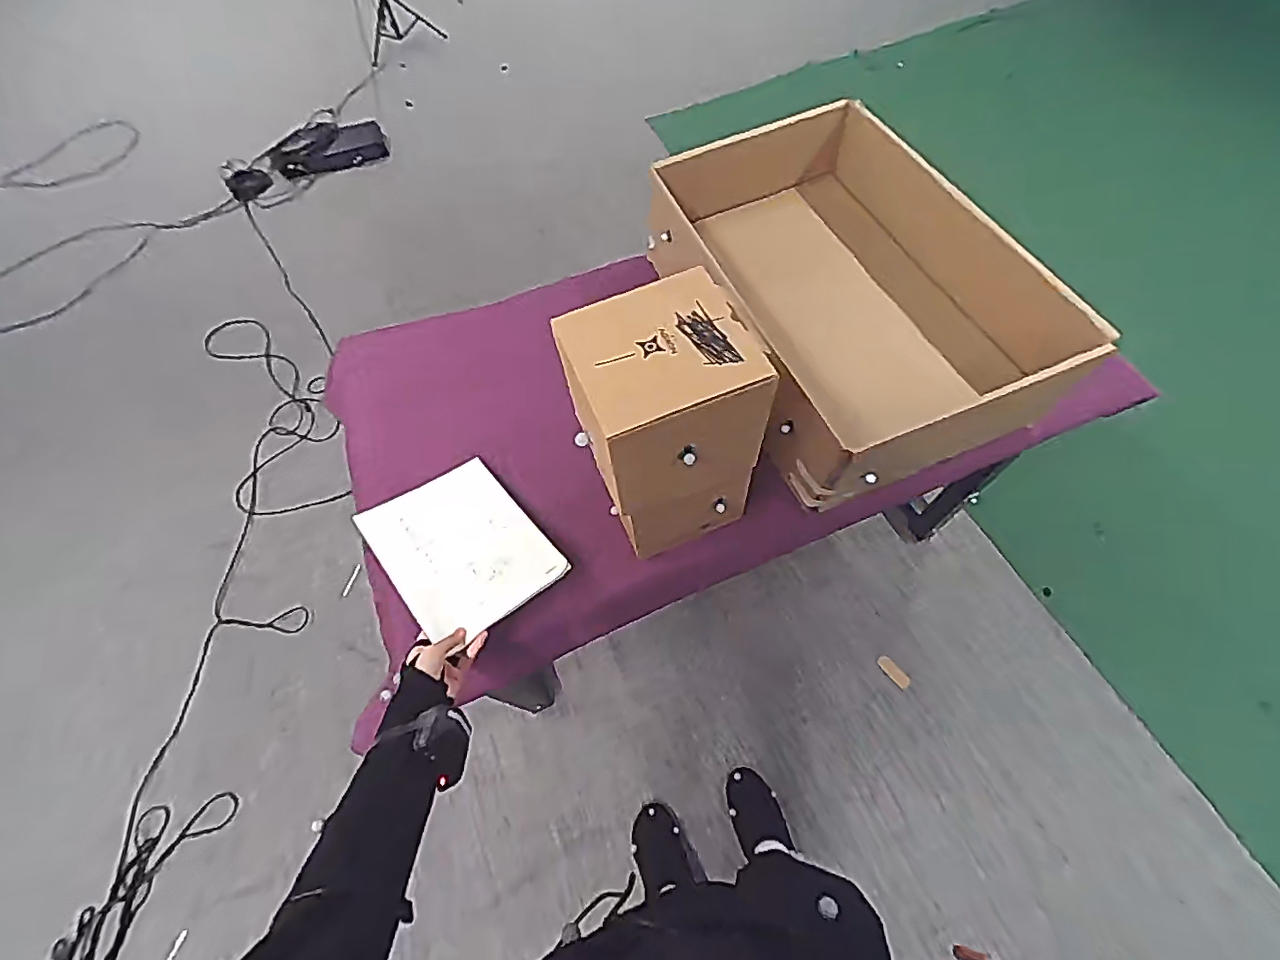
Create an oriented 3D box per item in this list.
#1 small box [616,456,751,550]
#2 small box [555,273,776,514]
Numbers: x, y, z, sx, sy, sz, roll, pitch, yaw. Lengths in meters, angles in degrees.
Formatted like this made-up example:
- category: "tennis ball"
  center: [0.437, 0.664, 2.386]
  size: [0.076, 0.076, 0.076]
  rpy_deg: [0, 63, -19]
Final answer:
- category: "small box"
  center: [0.037, -0.021, 0.749]
  size: [0.168, 0.176, 0.179]
  rpy_deg: [-21, 61, -8]
- category: "small box"
  center: [0.024, -0.089, 0.600]
  size: [0.179, 0.176, 0.168]
  rpy_deg: [-21, 61, -8]
